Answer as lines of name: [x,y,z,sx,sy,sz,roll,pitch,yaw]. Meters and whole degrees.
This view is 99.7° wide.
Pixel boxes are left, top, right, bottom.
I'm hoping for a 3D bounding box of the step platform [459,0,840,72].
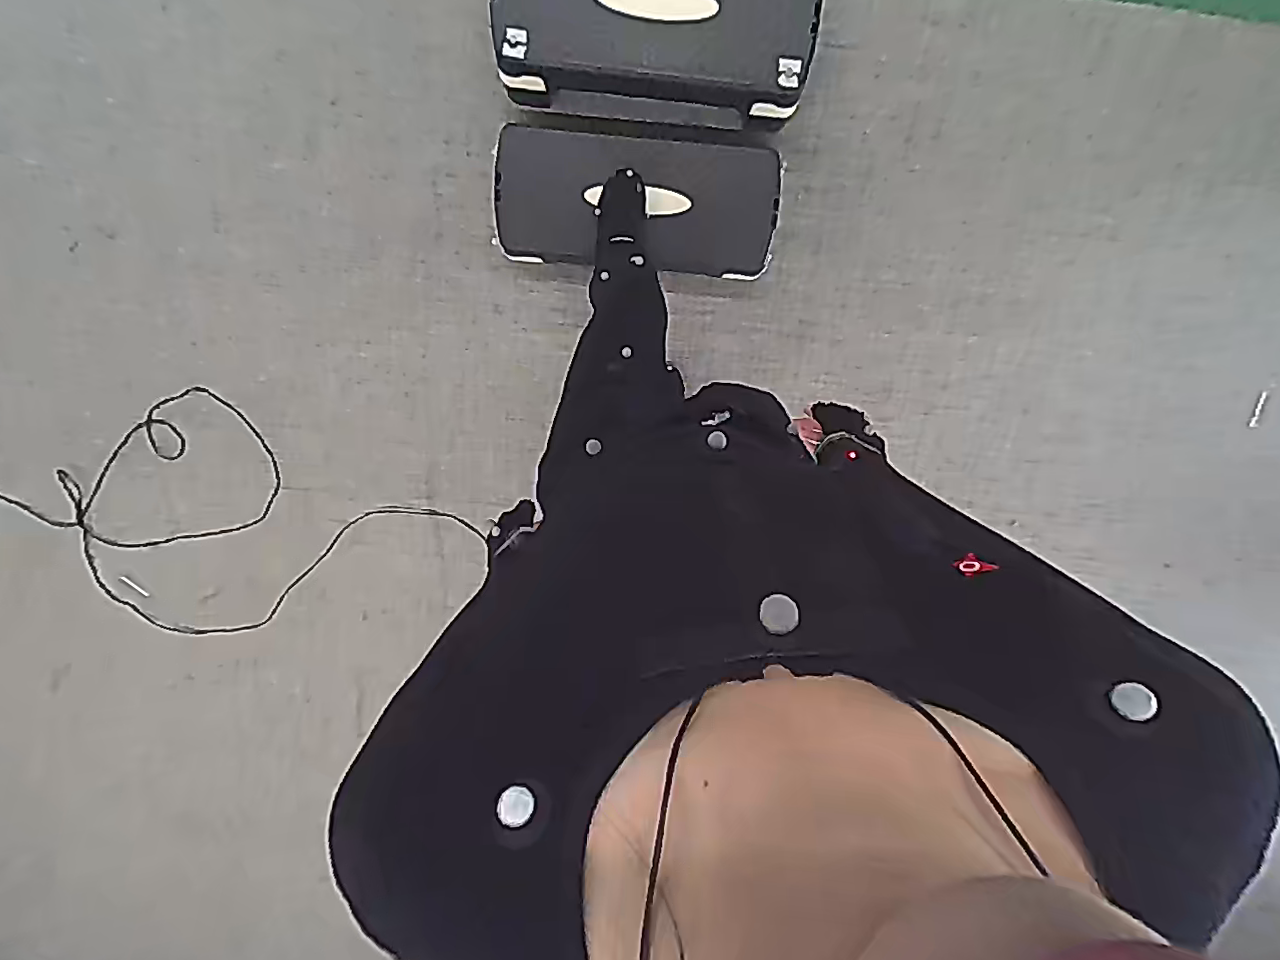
step platform: [0.013,-0.939,0.952,0.684,0.204,0.286,4,105,-2]
